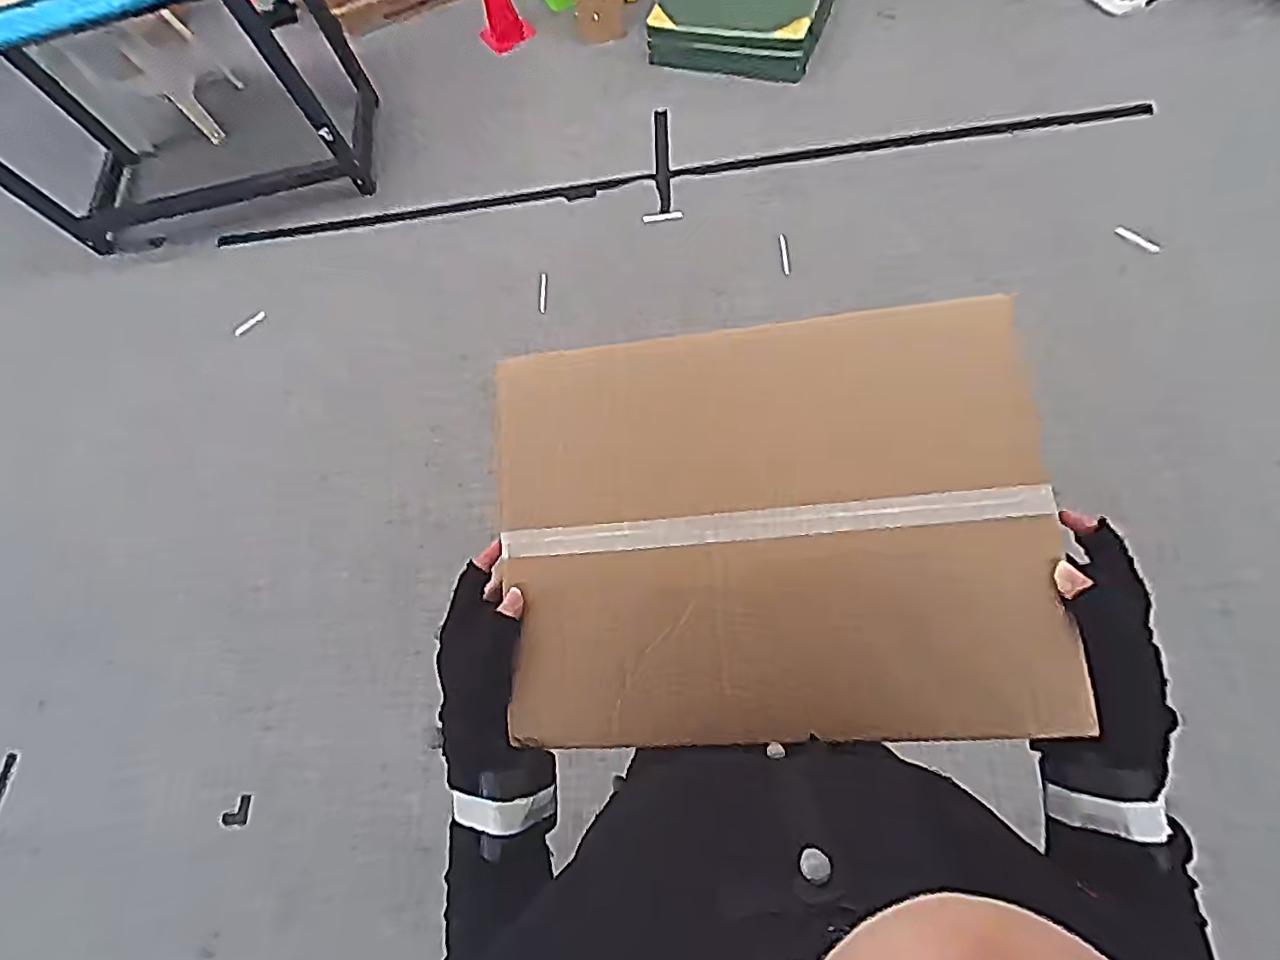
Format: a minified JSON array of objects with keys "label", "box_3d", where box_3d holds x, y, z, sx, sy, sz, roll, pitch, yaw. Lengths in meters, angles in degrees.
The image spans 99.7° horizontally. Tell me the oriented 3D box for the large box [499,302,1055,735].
[{"label":"large box","box_3d":[0.106,0.052,0.569,0.408,0.320,0.320,-5,80,8]}]
